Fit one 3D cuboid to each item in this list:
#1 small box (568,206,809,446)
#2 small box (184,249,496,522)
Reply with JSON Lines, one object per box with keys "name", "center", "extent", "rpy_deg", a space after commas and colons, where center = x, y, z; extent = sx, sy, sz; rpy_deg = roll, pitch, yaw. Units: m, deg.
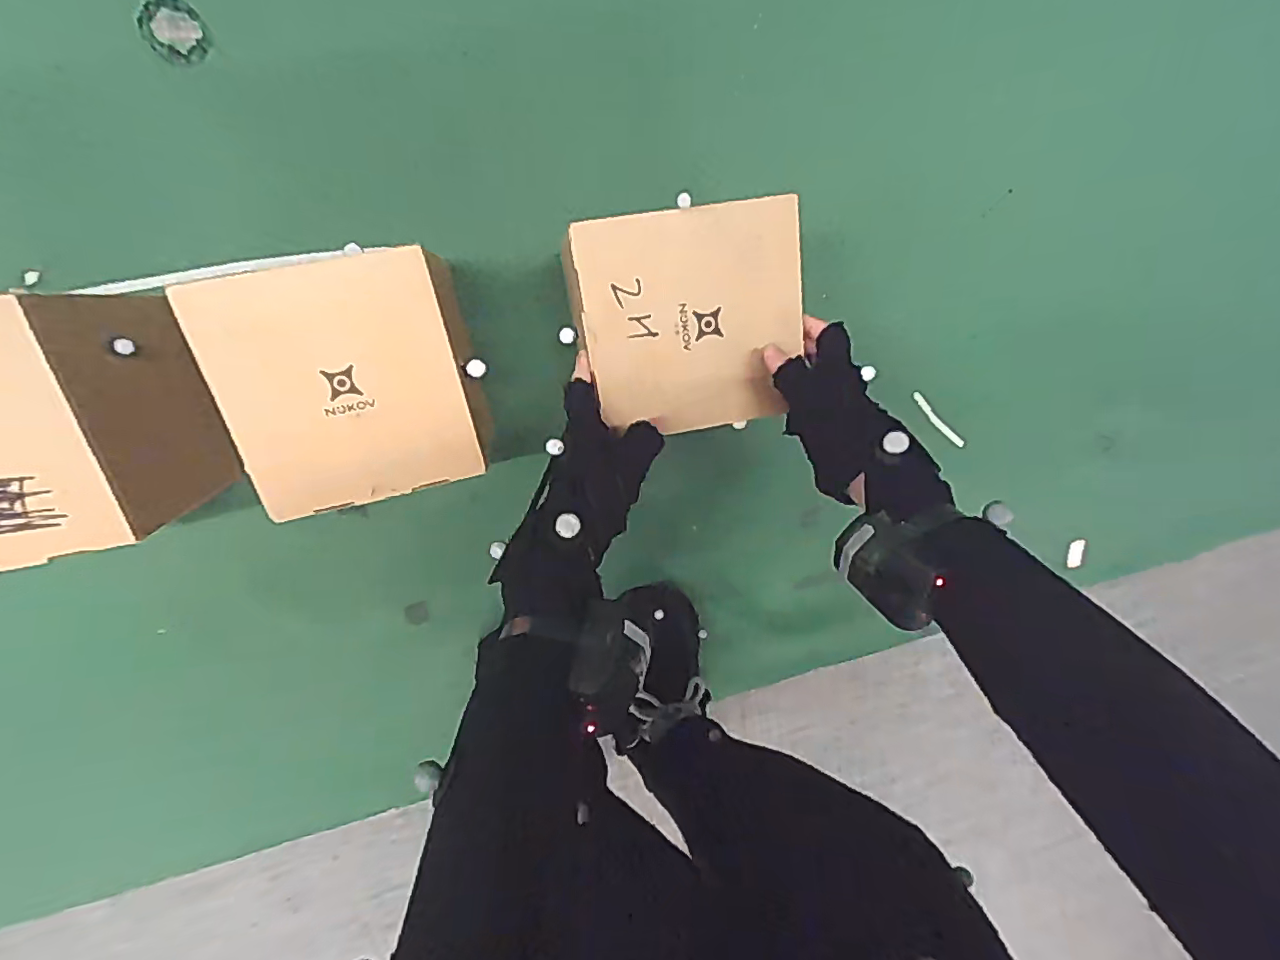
{"name": "small box", "center": [0.035, -0.141, 0.495], "extent": [0.179, 0.176, 0.168], "rpy_deg": [-10, 108, -7]}
{"name": "small box", "center": [-0.228, -0.089, 0.469], "extent": [0.168, 0.176, 0.179], "rpy_deg": [-14, 111, -9]}
